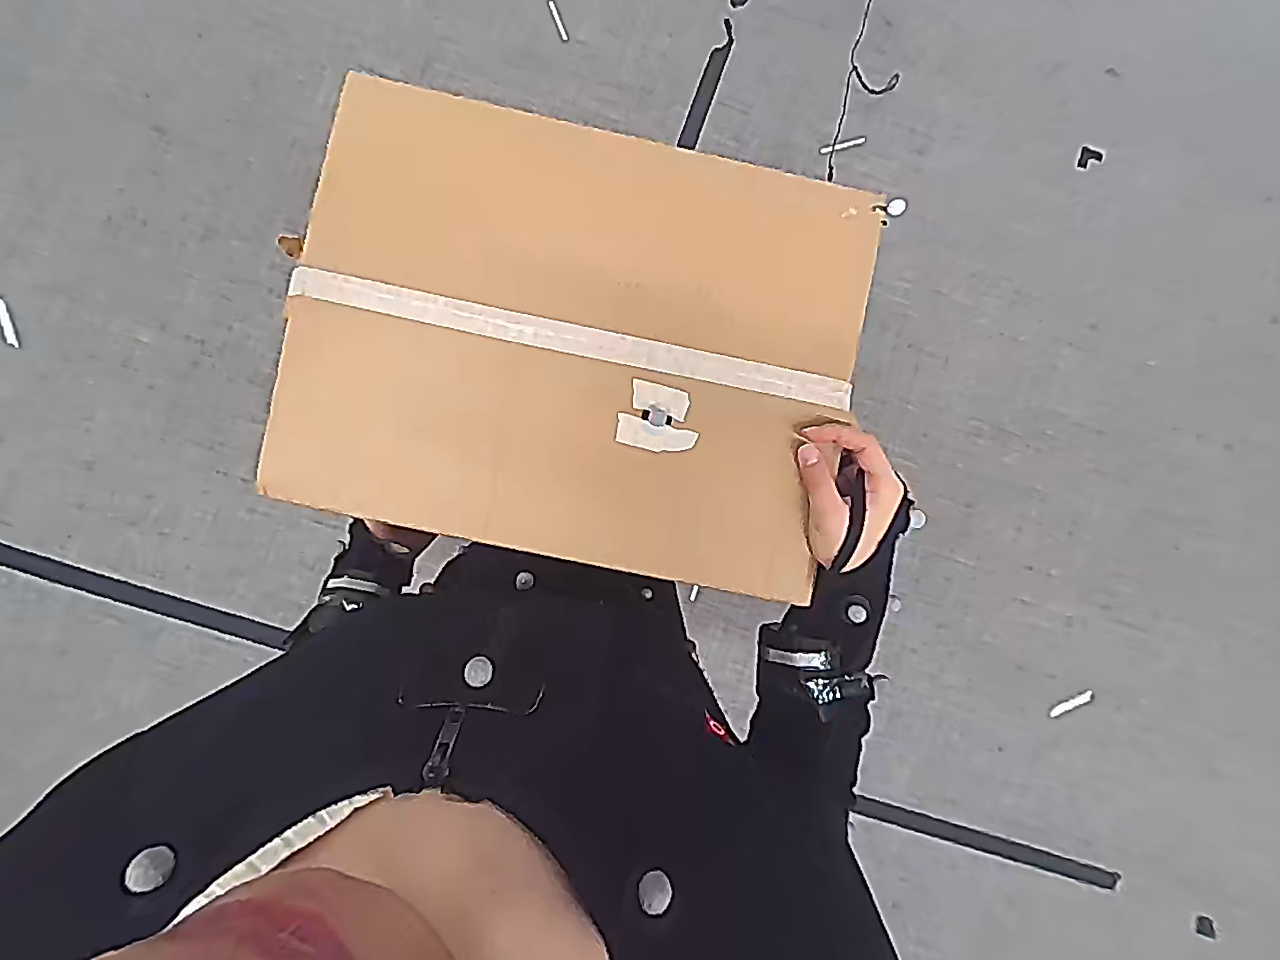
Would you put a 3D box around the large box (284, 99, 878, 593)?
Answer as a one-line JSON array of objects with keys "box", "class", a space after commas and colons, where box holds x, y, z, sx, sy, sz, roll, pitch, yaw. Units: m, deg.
[{"box": [-0.046, -0.095, 0.551, 0.408, 0.320, 0.320, 11, 89, -3], "class": "large box"}]
